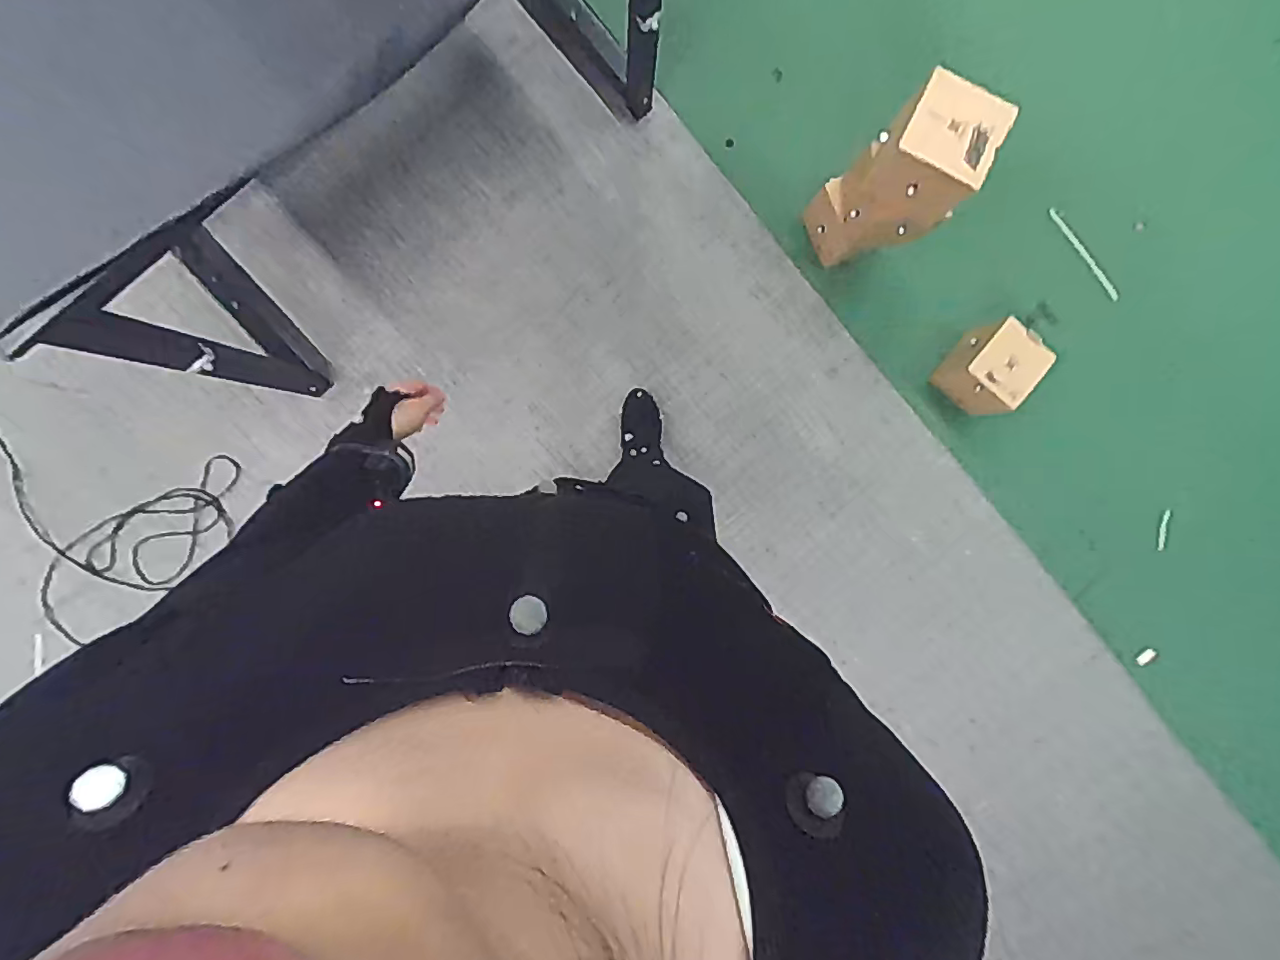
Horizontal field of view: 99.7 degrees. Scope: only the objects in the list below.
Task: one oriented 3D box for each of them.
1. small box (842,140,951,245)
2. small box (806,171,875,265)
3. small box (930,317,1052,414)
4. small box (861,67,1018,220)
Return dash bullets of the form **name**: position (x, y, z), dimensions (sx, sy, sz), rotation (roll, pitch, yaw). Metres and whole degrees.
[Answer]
- **small box**: position (0.573, -0.647, 1.229), dimensions (0.179, 0.176, 0.168), rotation (-4, 95, -4)
- **small box**: position (0.548, -0.682, 1.389), dimensions (0.179, 0.176, 0.168), rotation (-24, 94, -2)
- **small box**: position (0.916, -0.295, 1.429), dimensions (0.168, 0.176, 0.179), rotation (40, 89, -5)
- **small box**: position (0.577, -0.645, 1.065), dimensions (0.179, 0.176, 0.168), rotation (27, 92, -3)
